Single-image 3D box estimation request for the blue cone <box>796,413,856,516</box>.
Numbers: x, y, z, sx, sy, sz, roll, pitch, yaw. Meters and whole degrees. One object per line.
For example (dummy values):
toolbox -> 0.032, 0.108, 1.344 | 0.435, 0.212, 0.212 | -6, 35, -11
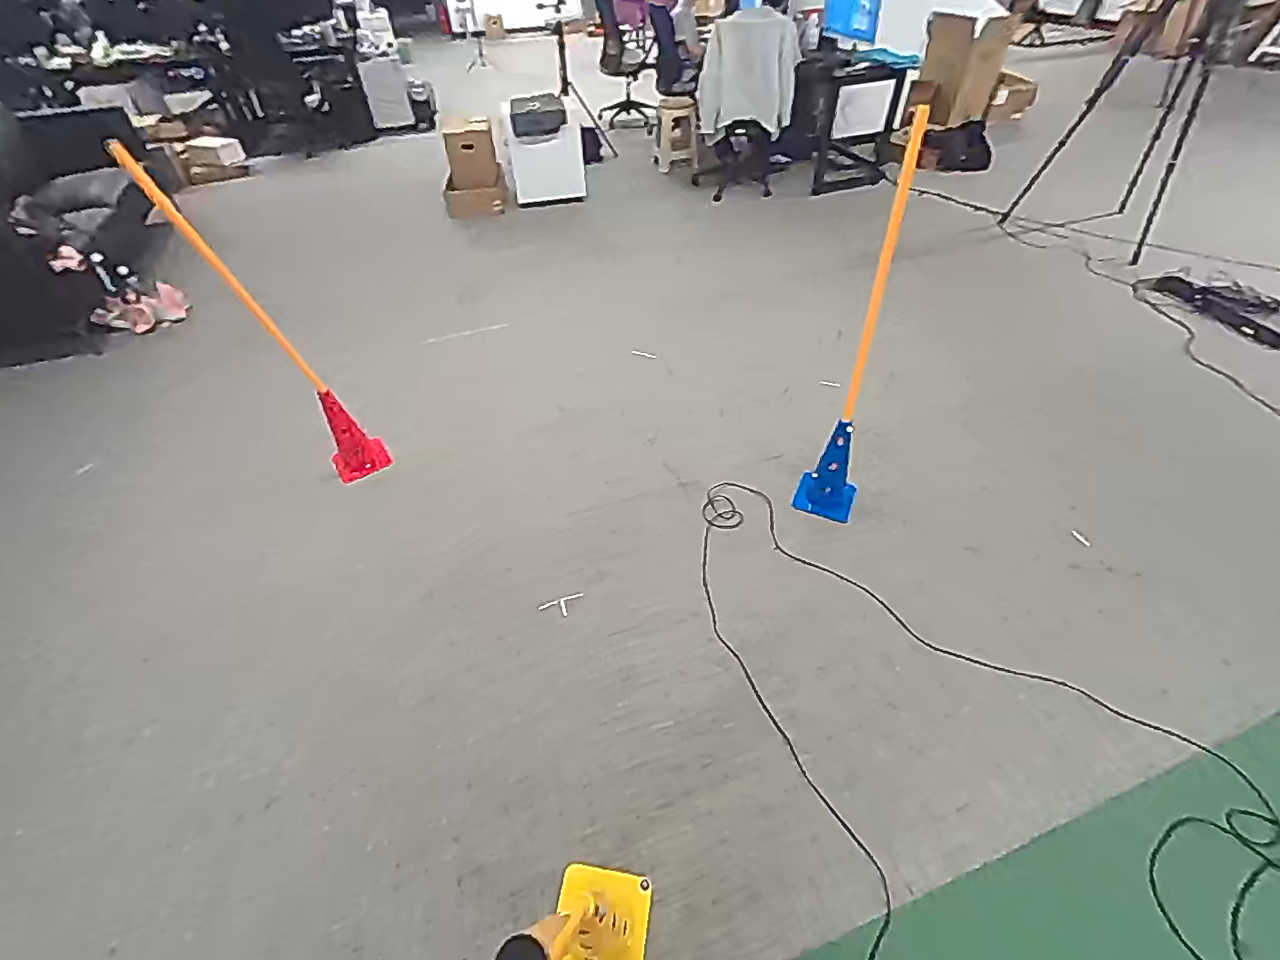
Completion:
blue cone -> 0.669, -0.070, 1.860 | 0.192, 0.380, 0.193 | 17, 47, 19
